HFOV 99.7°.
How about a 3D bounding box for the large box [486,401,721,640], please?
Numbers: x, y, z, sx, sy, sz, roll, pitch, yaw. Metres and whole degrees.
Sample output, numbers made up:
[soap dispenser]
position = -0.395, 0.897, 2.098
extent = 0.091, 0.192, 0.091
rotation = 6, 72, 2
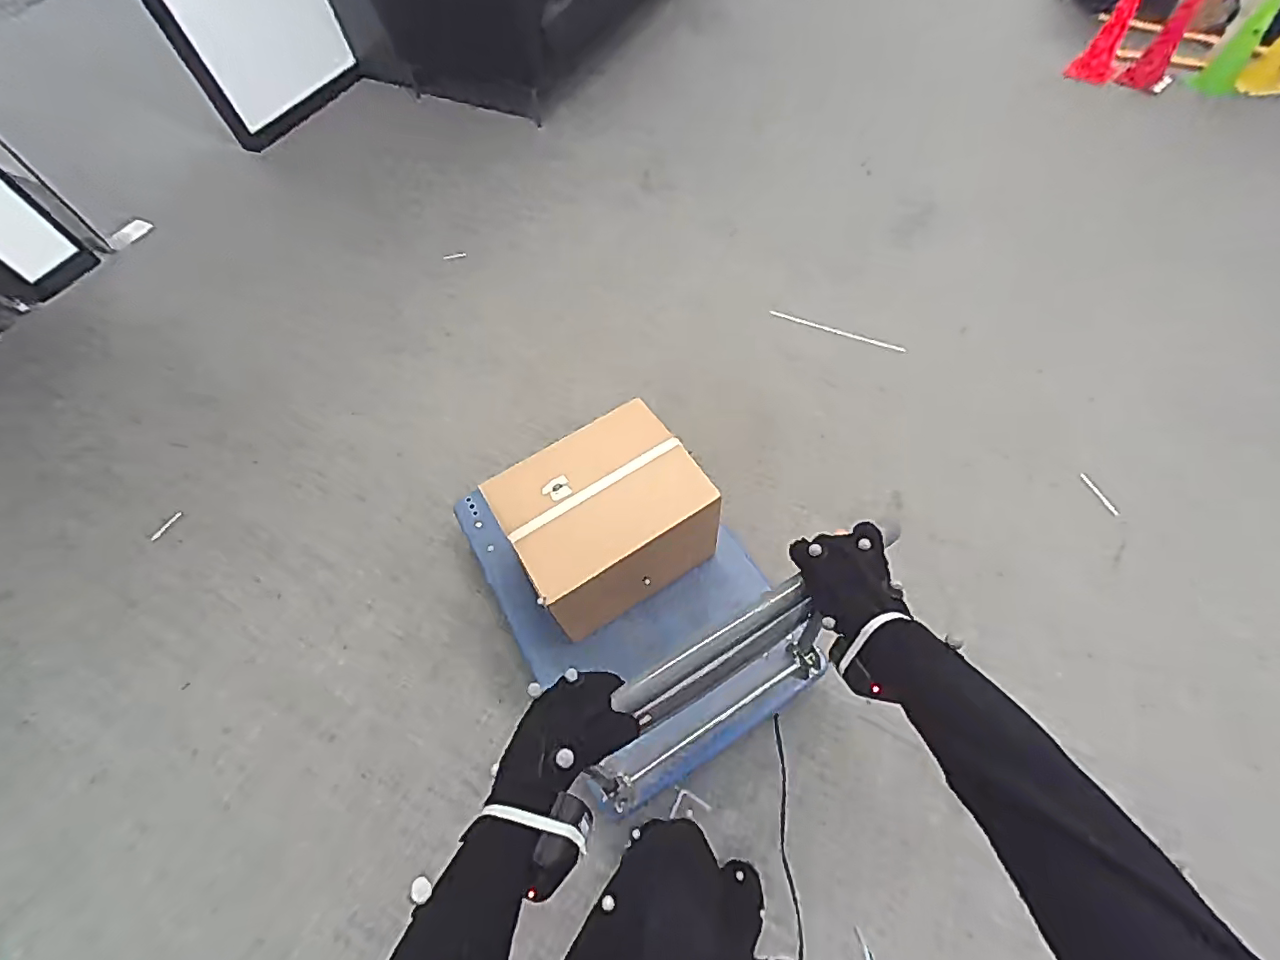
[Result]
[large box]
position = -0.067, 0.100, 1.241
extent = 0.408, 0.320, 0.320
rotation = -32, 62, -12
